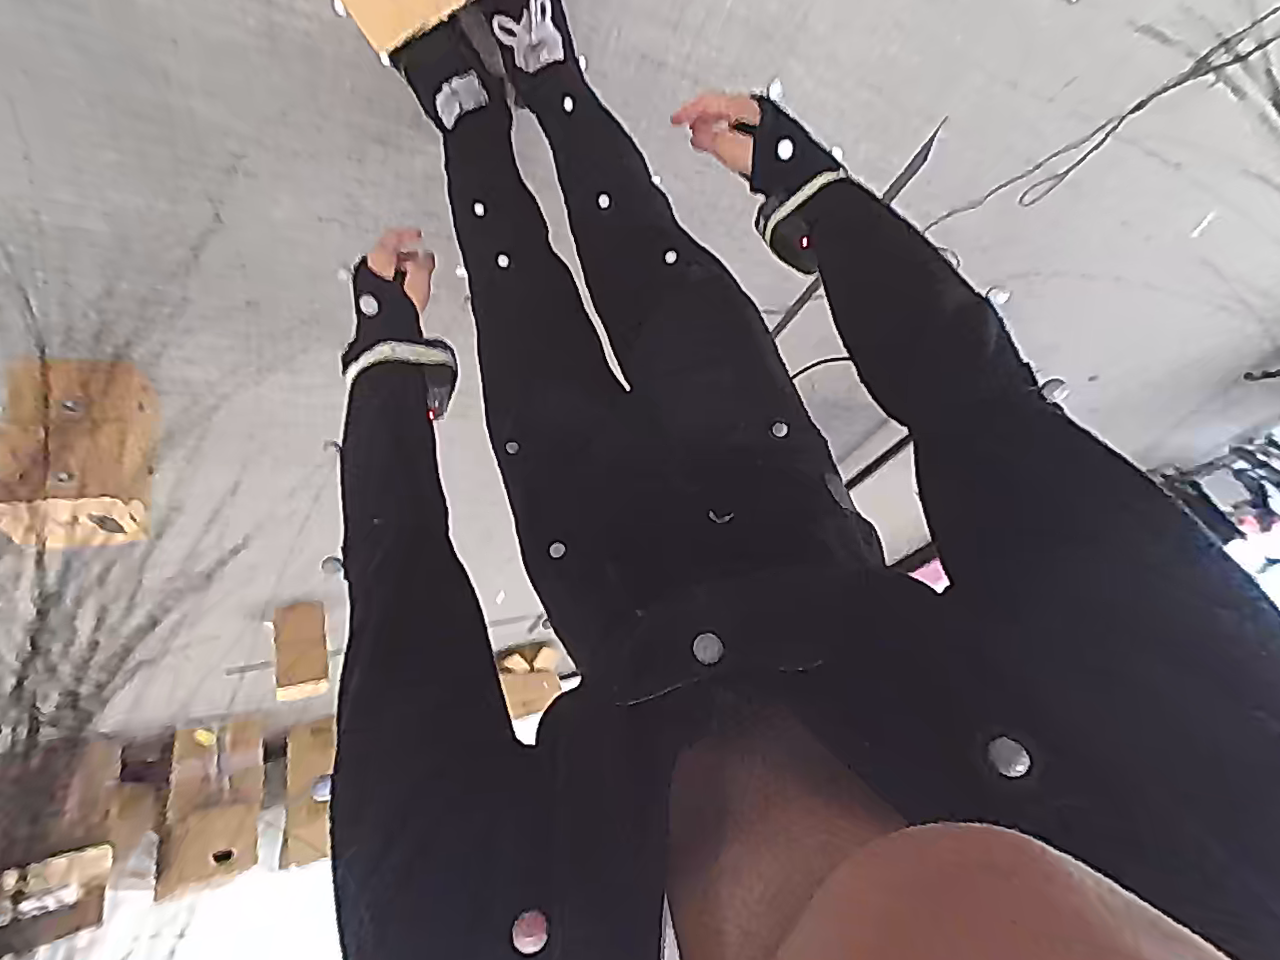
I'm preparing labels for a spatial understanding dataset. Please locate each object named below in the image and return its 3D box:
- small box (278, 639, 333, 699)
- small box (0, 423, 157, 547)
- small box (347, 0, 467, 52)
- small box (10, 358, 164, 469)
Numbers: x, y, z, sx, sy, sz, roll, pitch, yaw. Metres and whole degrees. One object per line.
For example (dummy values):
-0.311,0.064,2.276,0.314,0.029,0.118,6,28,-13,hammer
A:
-1.349,0.758,2.175,0.179,0.176,0.168,-1,148,-36,small box
-1.038,0.005,1.011,0.179,0.176,0.168,-4,148,-29,small box
-0.248,-0.573,0.509,0.168,0.176,0.179,-27,154,9,small box
-1.094,-0.130,1.090,0.179,0.176,0.168,-4,148,-28,small box
